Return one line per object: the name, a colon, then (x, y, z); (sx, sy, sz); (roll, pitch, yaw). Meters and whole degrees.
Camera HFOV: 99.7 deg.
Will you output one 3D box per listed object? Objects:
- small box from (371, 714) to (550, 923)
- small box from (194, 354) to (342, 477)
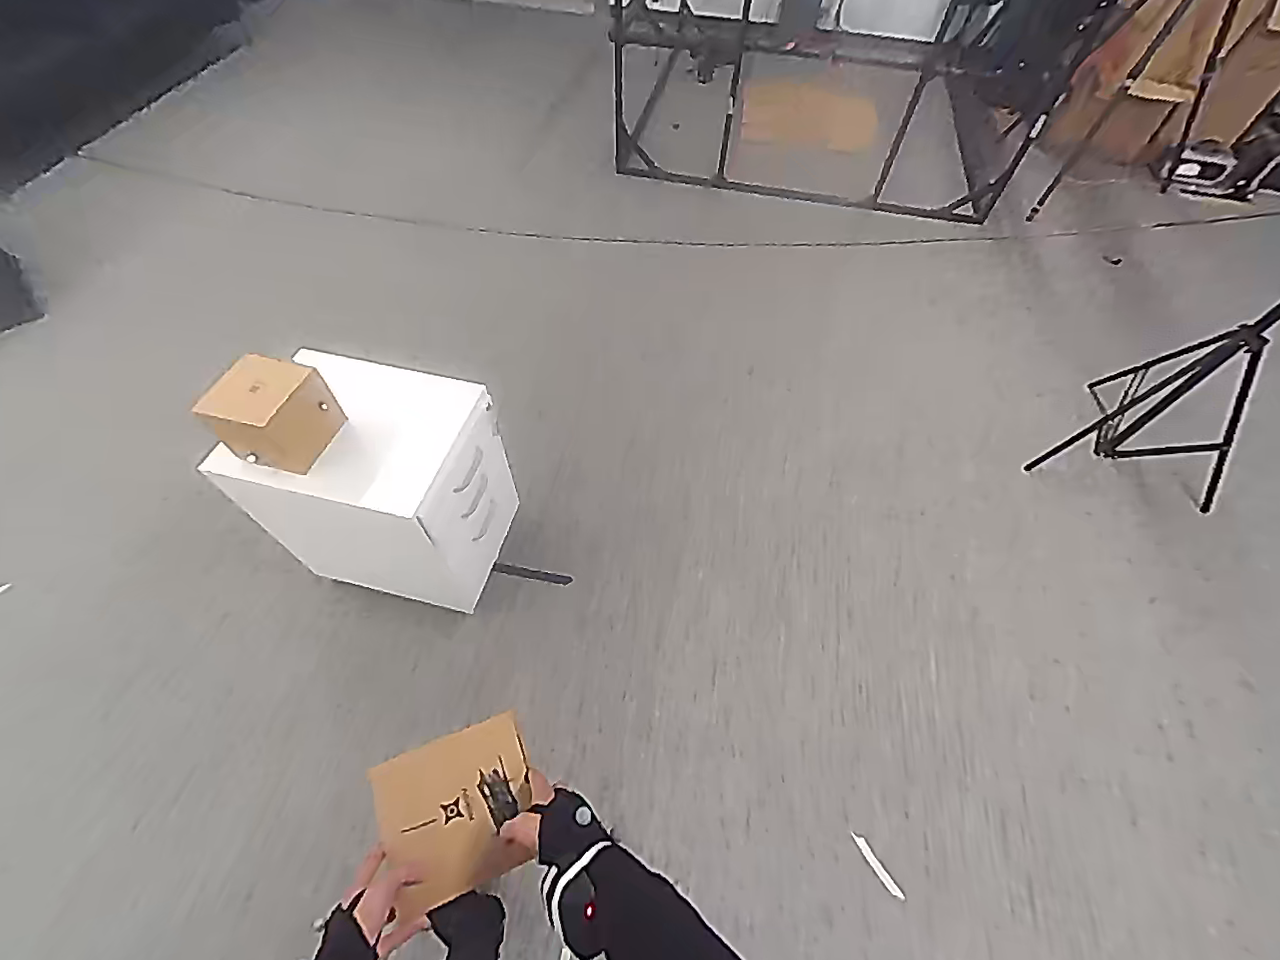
small box: (-0.224, 0.425, 0.707); (0.179, 0.176, 0.168); (-17, 65, -16)
small box: (-0.778, -0.136, 1.159); (0.168, 0.176, 0.179); (13, 56, 7)
